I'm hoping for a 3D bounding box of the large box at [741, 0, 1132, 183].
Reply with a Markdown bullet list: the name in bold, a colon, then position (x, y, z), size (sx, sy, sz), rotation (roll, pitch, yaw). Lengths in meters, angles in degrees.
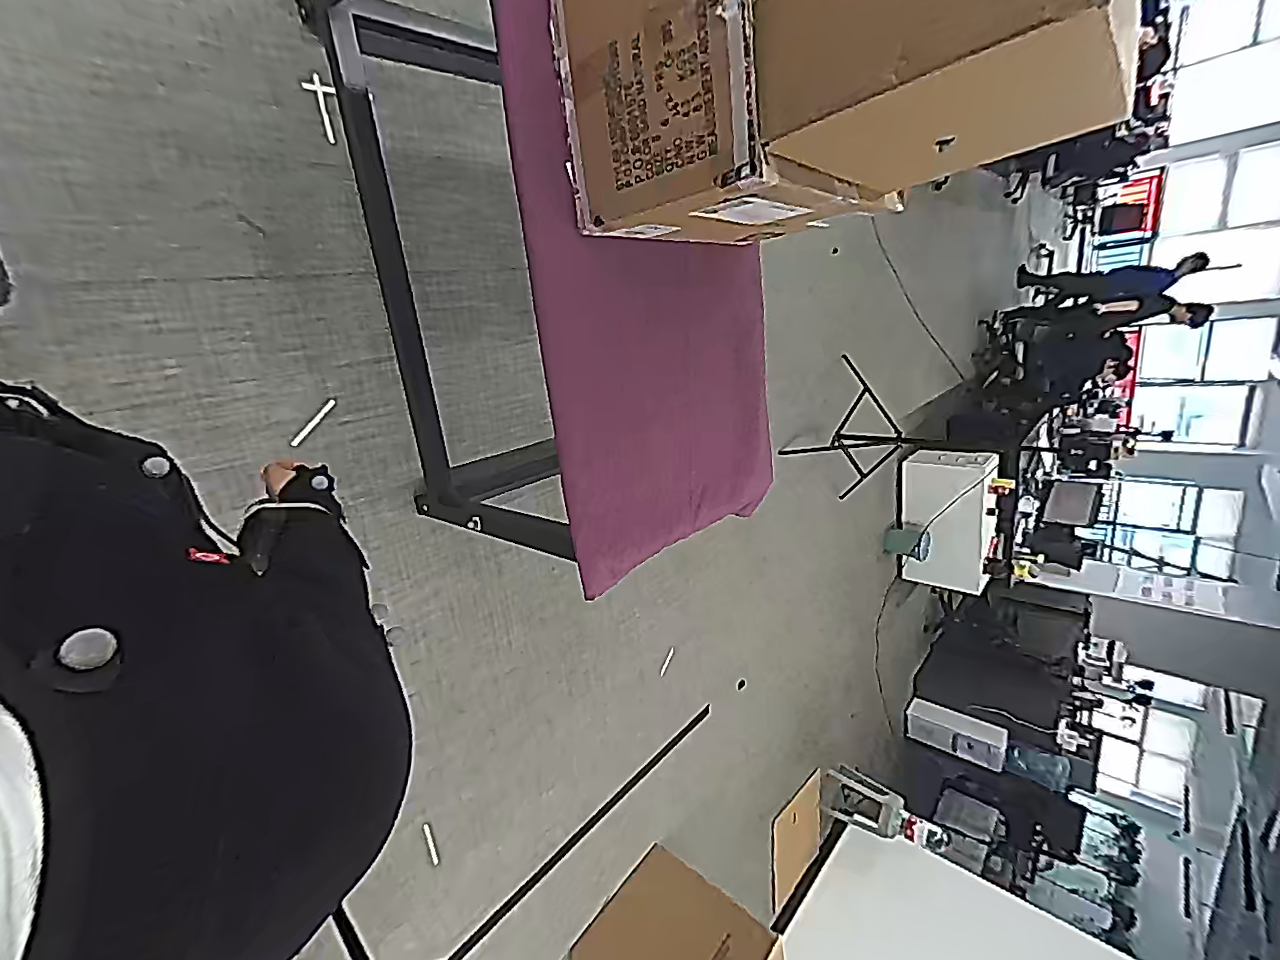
- **large box**: position (0.354, -0.574, 0.629), size (0.408, 0.320, 0.320), rotation (-20, 106, -43)
